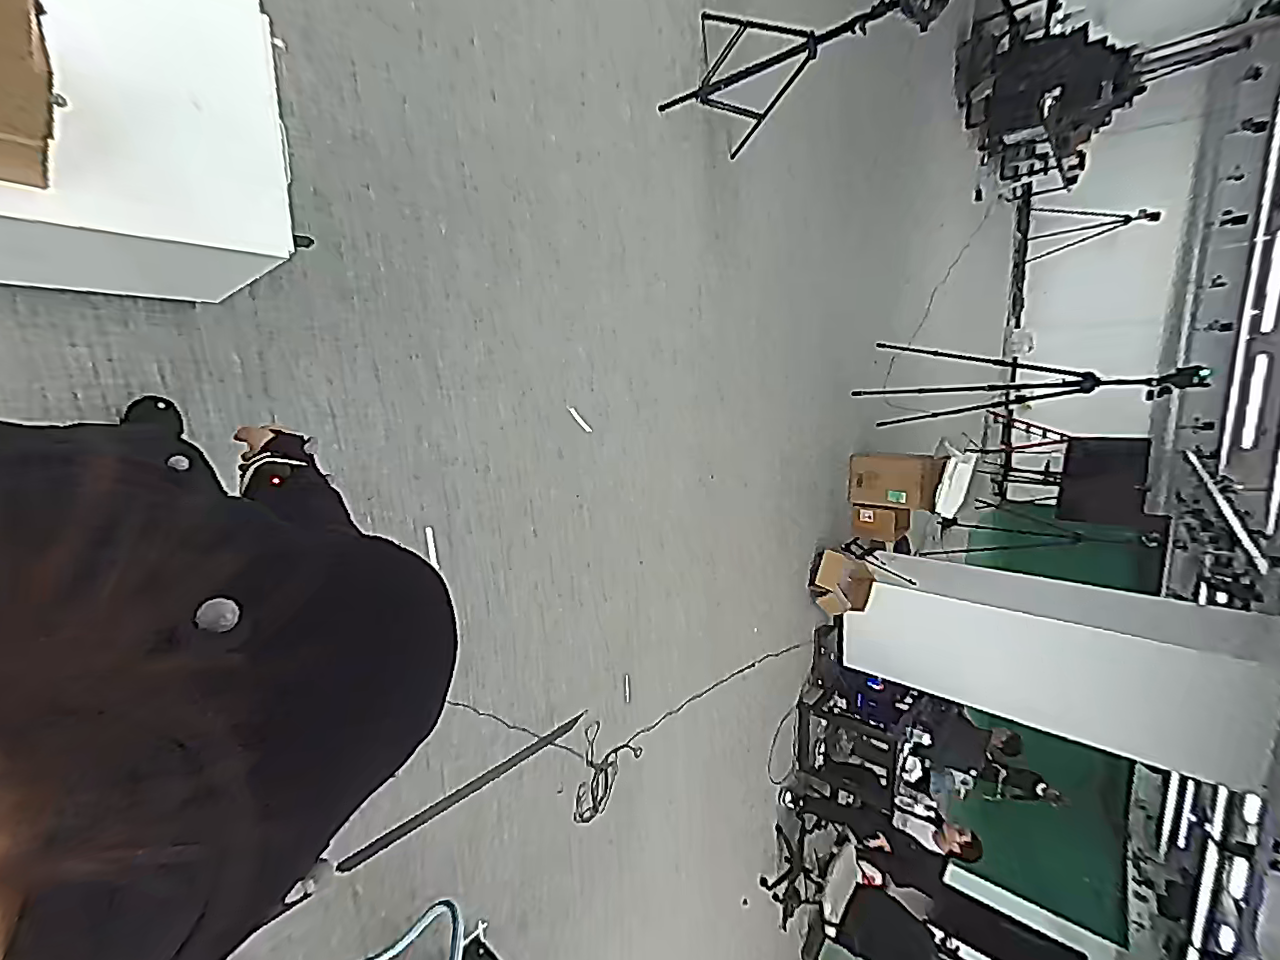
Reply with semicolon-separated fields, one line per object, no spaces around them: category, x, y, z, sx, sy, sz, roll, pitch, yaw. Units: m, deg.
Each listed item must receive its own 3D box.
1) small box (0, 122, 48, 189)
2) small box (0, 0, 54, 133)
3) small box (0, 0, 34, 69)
small box;-0.771;-0.445;0.578;0.168;0.176;0.179;-10;102;-47
small box;-0.652;-0.431;0.466;0.179;0.176;0.168;-16;105;-45
small box;-0.535;-0.423;0.350;0.168;0.176;0.179;-15;105;-45
